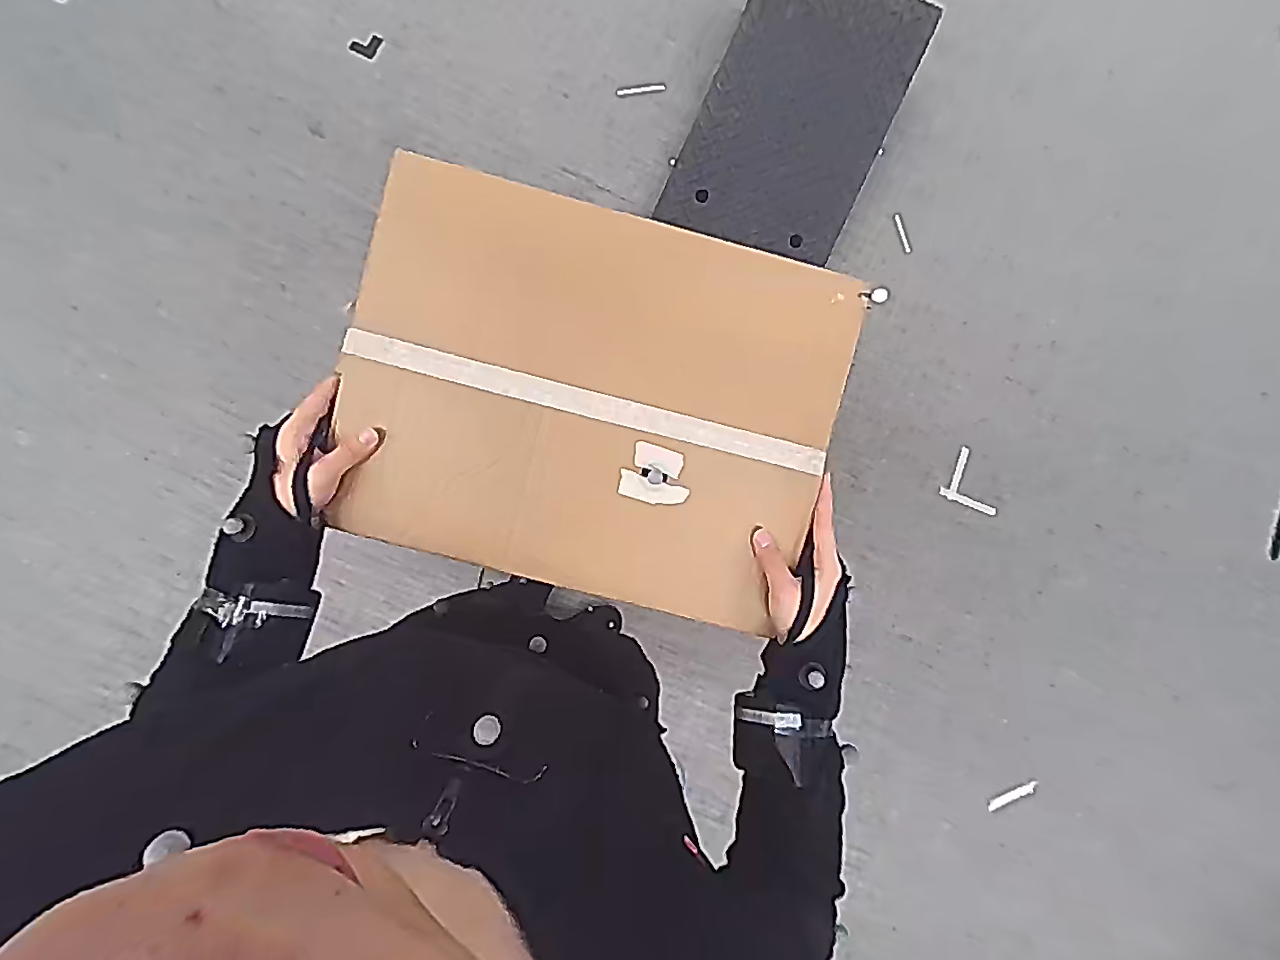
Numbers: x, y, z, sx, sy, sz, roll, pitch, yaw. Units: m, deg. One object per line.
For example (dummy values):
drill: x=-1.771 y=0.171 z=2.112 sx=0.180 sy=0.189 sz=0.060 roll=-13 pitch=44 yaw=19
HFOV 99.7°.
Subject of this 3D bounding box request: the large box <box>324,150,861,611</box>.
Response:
large box: x=-0.046 y=-0.086 z=0.602 sx=0.408 sy=0.320 sz=0.320 roll=14 pitch=94 yaw=-3
